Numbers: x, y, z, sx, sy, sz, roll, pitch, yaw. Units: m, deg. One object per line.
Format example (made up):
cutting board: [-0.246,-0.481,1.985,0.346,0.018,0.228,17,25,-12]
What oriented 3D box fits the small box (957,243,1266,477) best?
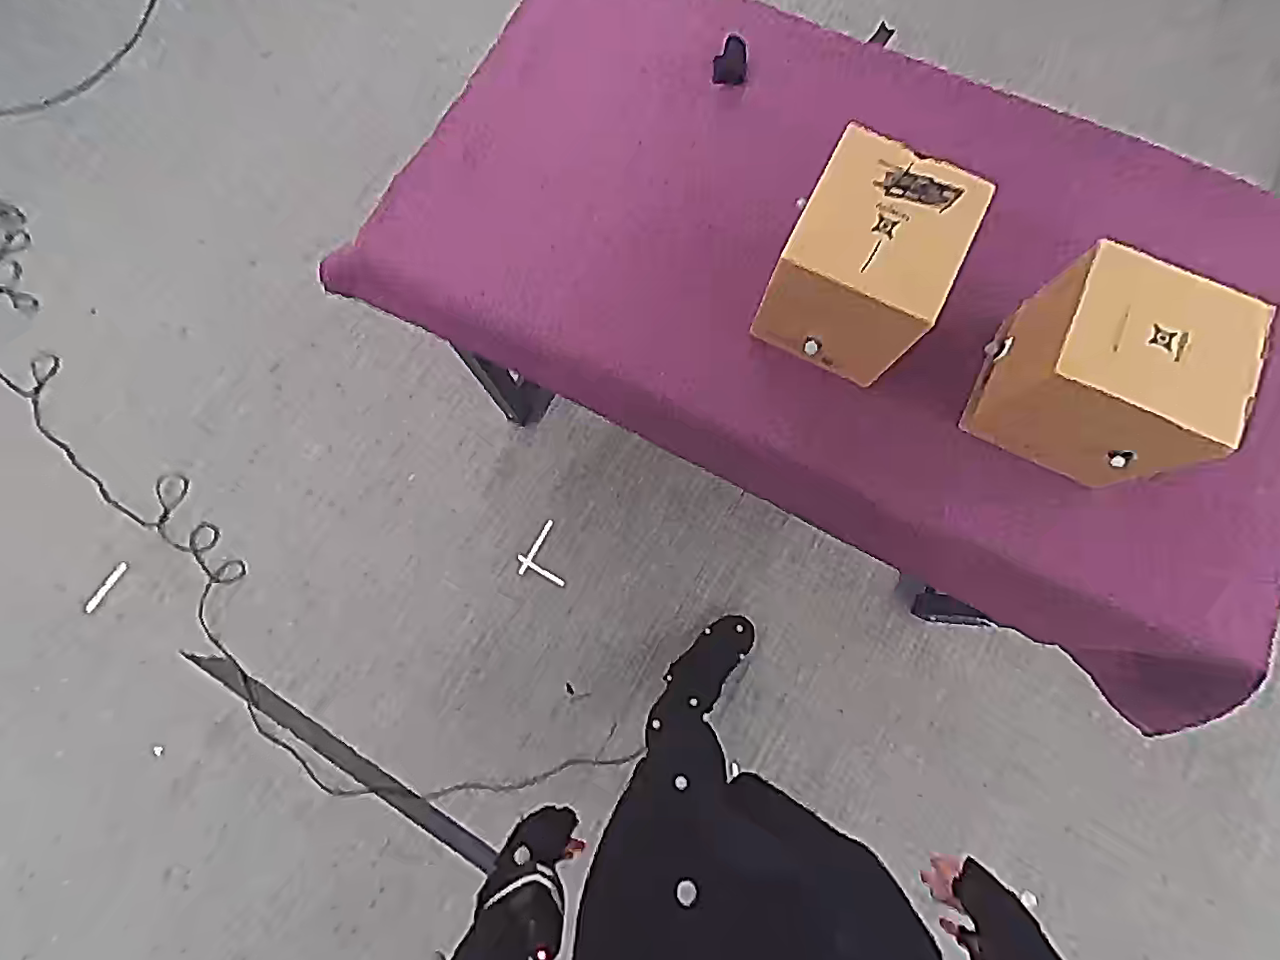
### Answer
small box: [0.503,-0.117,0.602,0.179,0.176,0.168,25,77,7]

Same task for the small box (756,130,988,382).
small box: [0.251,-0.246,0.630,0.168,0.176,0.179,27,79,6]
